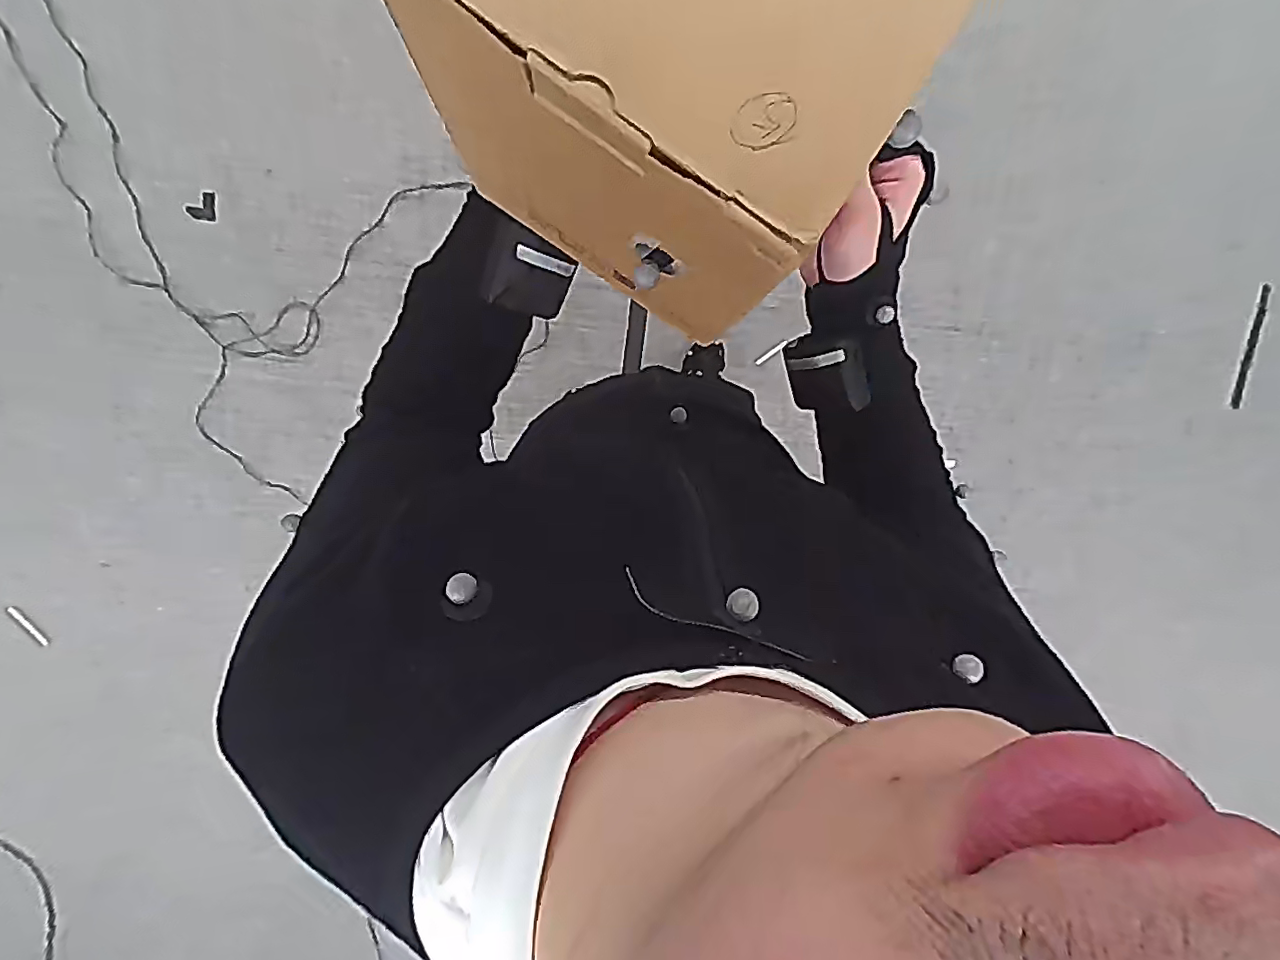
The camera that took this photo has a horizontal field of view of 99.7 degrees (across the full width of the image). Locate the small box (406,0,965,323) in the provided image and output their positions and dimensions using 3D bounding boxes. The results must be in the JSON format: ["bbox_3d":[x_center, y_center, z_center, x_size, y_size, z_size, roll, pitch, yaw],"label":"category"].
[{"bbox_3d":[0.028,-0.199,0.250,0.168,0.176,0.179,33,91,-7],"label":"small box"}]
